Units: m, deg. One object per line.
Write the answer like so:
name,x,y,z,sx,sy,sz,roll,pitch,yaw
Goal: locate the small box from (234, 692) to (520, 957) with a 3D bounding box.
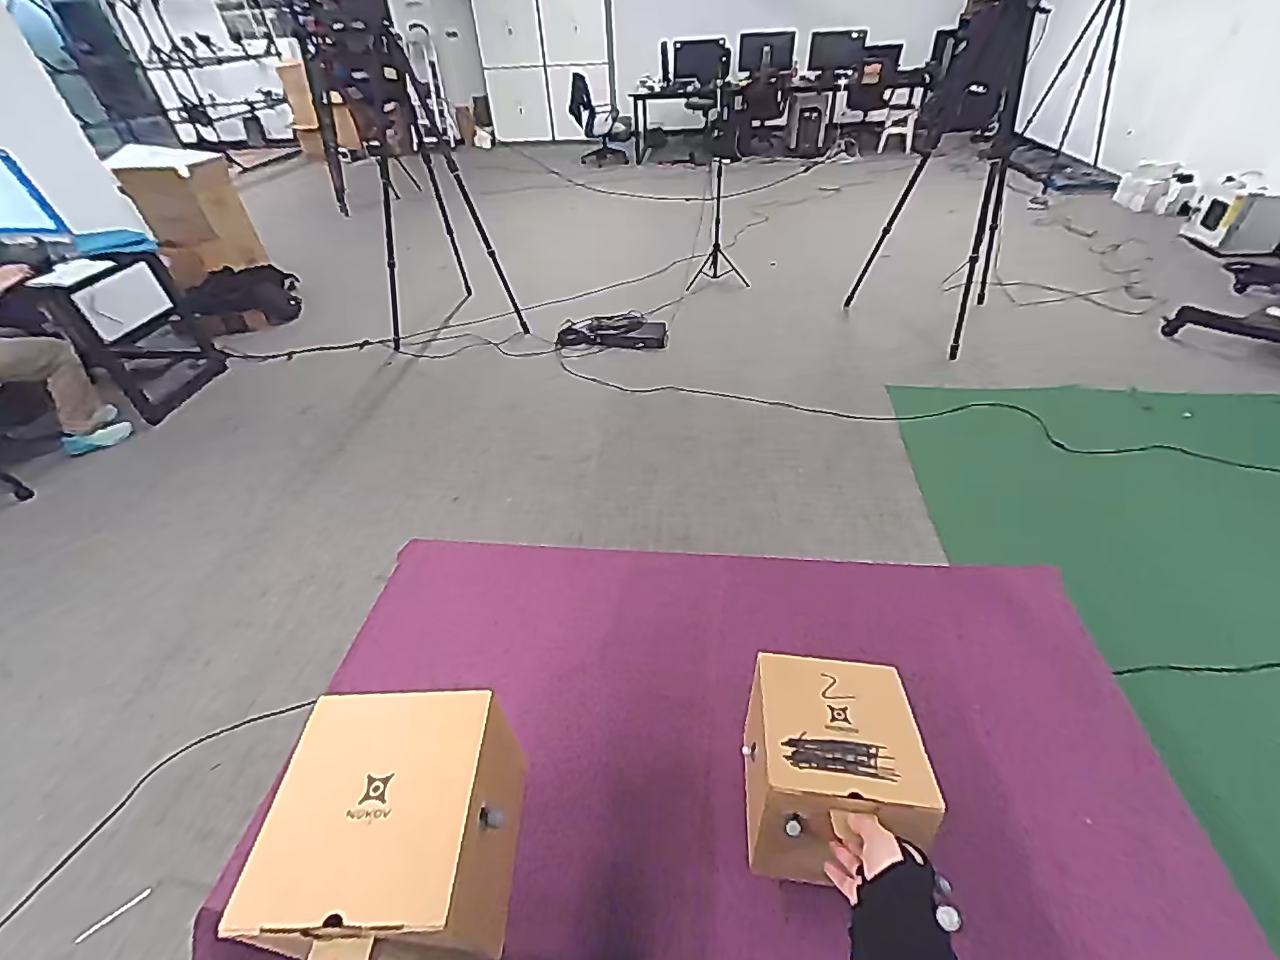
small box,-0.218,0.324,0.511,0.168,0.176,0.179,-3,43,1
